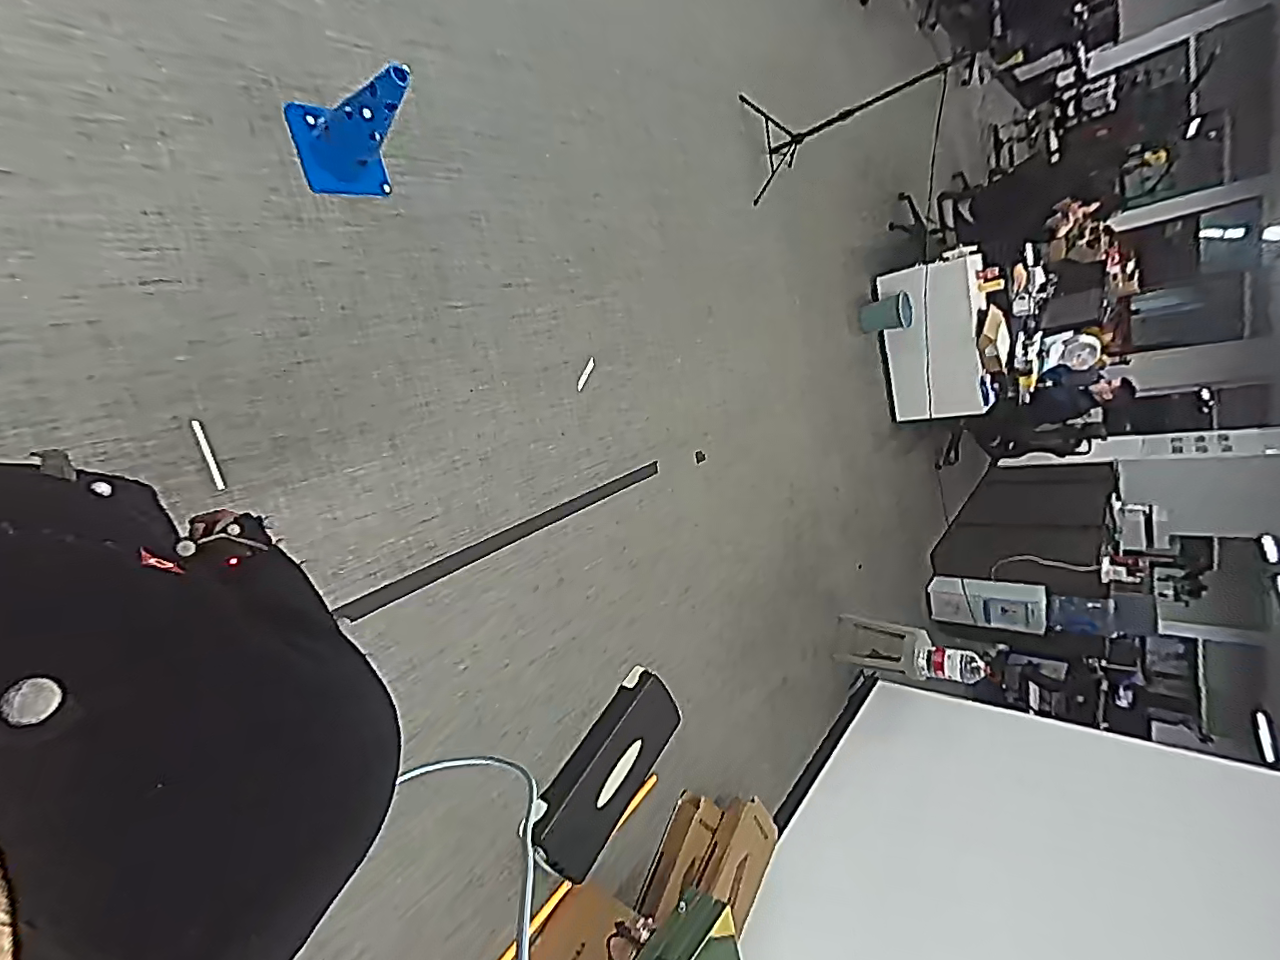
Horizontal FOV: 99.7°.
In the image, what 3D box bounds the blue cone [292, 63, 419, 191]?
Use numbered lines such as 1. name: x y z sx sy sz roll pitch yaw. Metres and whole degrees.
1. blue cone: -0.603 -0.807 1.200 0.192 0.380 0.193 -25 106 -45
